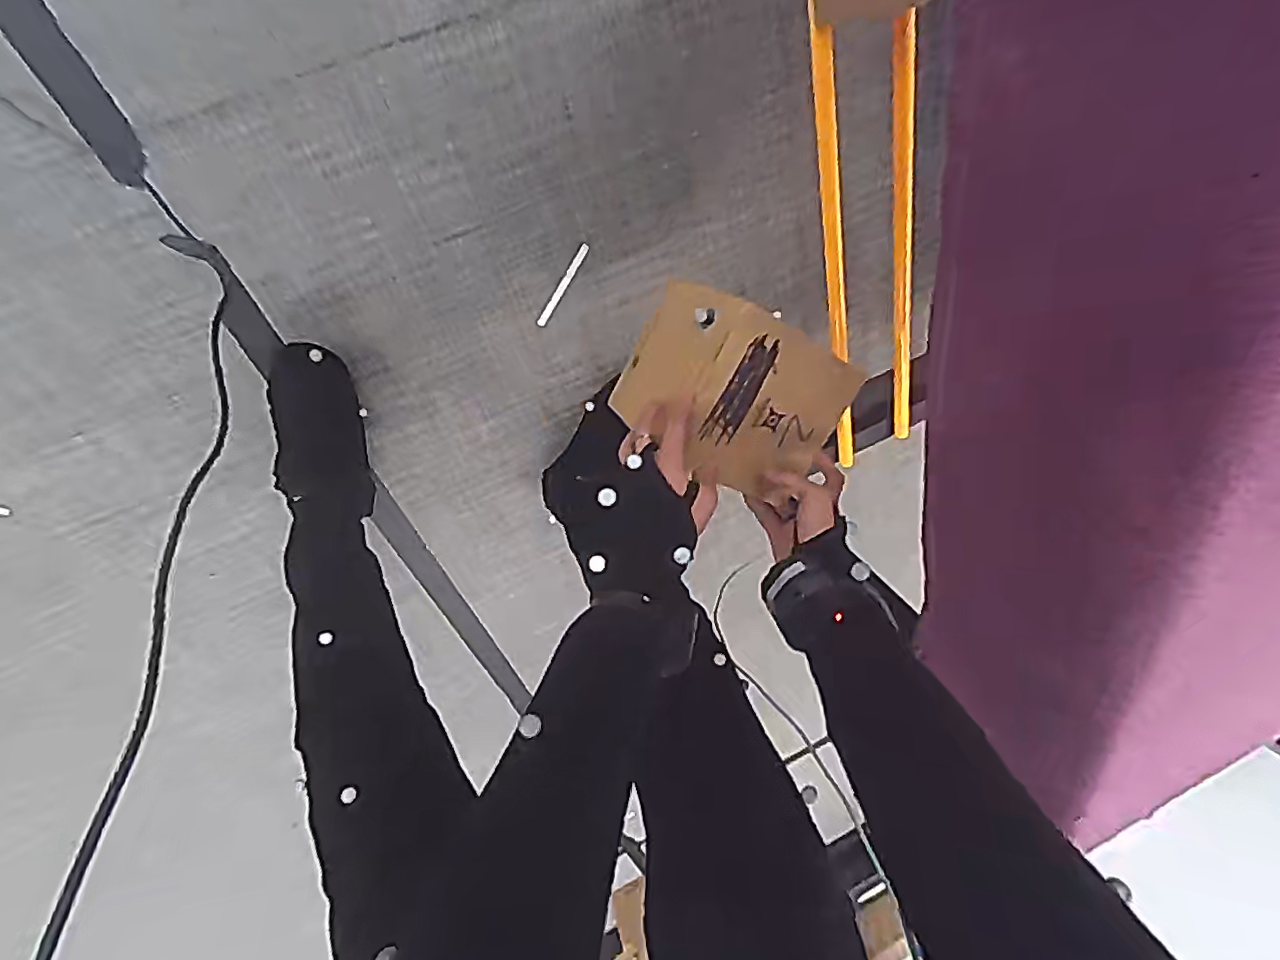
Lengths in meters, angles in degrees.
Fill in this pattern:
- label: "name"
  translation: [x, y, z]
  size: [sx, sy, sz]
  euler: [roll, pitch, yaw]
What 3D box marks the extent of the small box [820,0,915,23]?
- label: "small box"
  translation: [0.286, -0.597, 0.535]
  size: [0.168, 0.176, 0.179]
  euler: [-27, 128, -4]
